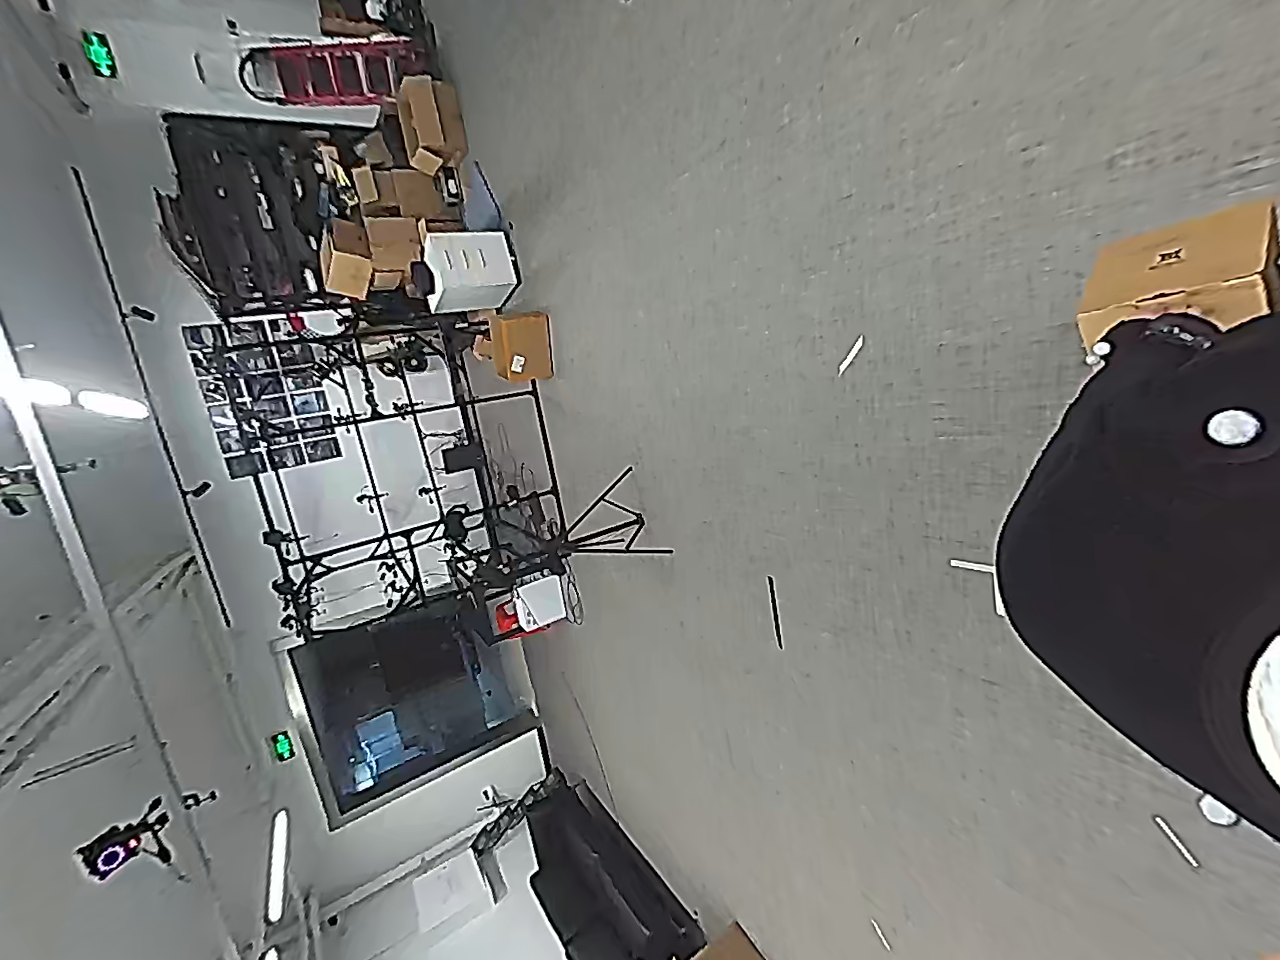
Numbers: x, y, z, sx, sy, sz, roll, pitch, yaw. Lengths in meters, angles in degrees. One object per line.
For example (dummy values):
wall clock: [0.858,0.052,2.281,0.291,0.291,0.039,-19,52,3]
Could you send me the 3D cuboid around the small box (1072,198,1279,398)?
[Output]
small box: [0.716,-0.224,0.720,0.176,0.179,0.168,50,153,-24]
